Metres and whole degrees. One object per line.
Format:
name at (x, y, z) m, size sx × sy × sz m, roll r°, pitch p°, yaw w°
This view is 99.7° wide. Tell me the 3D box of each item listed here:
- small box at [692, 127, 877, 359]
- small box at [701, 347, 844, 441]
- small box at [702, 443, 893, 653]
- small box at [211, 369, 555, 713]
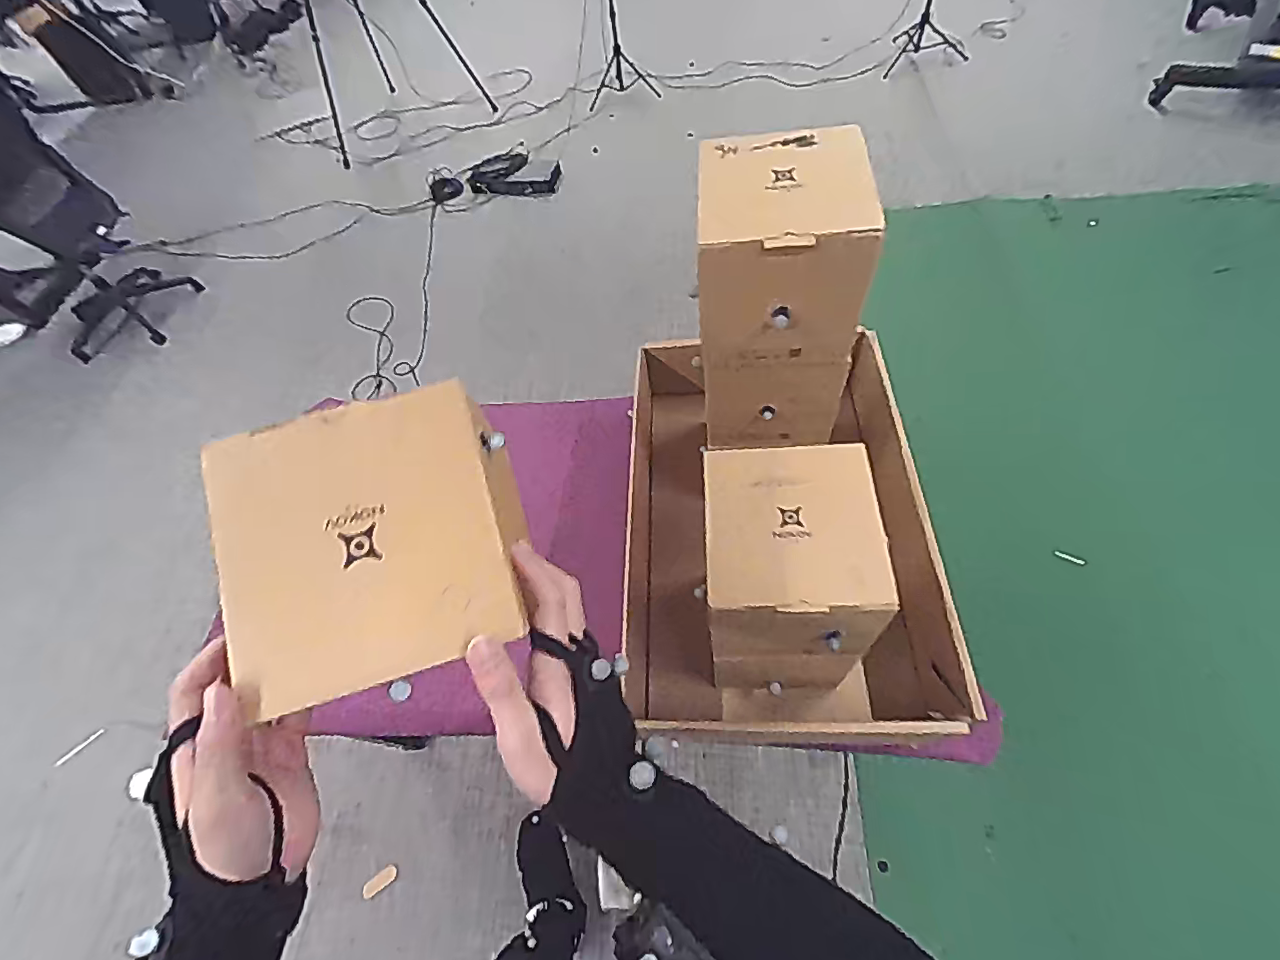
small box at (0.147, -0.248, 0.596) m, size 0.168 × 0.176 × 0.179 m, roll 0°, pitch 60°, yaw 8°
small box at (0.170, -0.165, 0.736) m, size 0.168 × 0.176 × 0.179 m, roll 0°, pitch 59°, yaw 8°
small box at (0.154, 0.081, 0.585) m, size 0.168 × 0.176 × 0.179 m, roll -2°, pitch 57°, yaw 8°
small box at (-0.167, 0.047, 0.404) m, size 0.168 × 0.176 × 0.179 m, roll -16°, pitch 77°, yaw -7°
